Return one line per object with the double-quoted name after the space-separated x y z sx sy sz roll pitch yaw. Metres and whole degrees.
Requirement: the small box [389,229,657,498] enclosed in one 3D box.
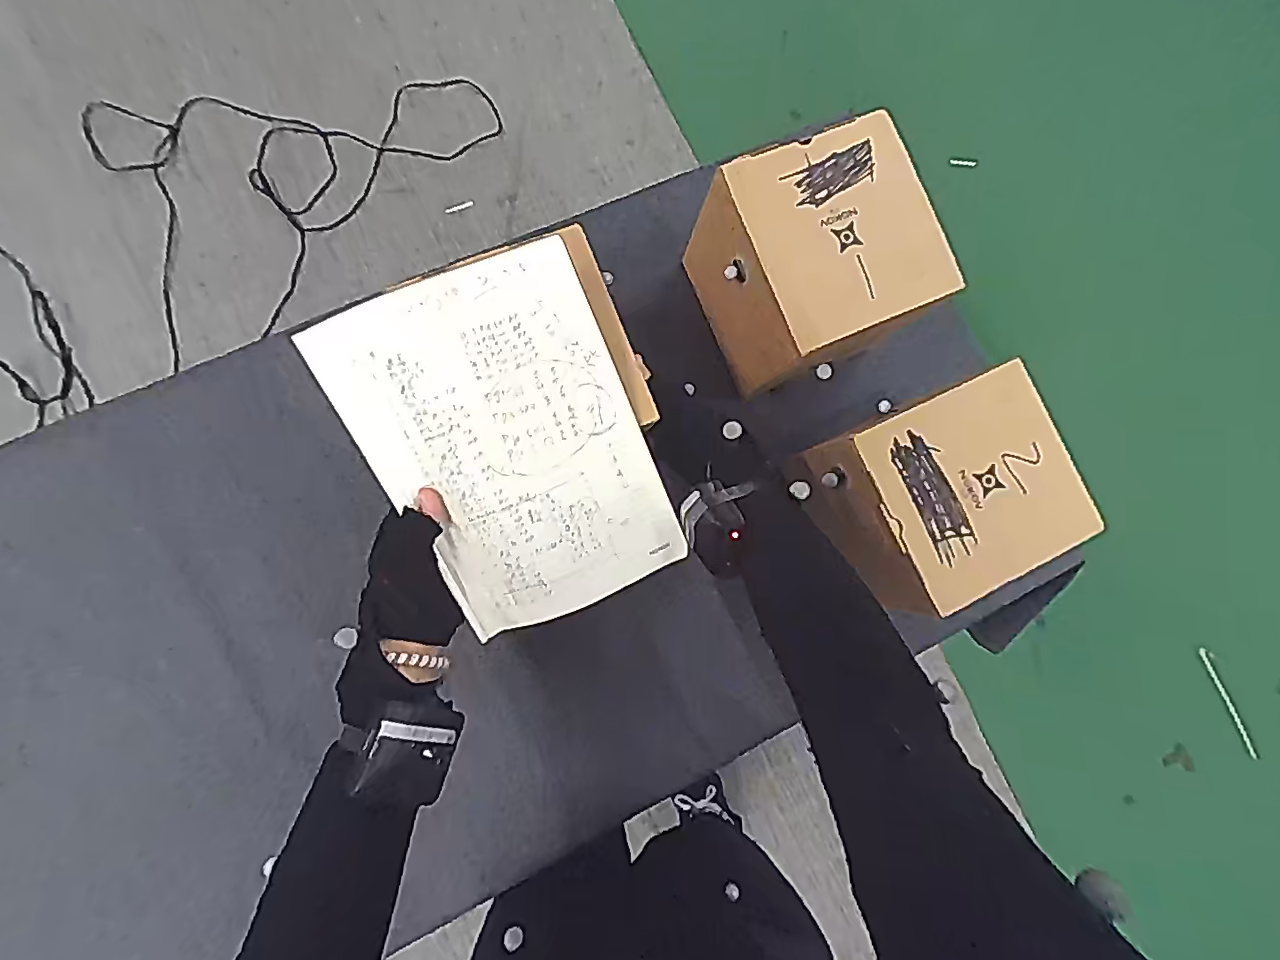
-0.098 -0.090 0.508 0.168 0.176 0.179 -23 87 -7 "small box"
